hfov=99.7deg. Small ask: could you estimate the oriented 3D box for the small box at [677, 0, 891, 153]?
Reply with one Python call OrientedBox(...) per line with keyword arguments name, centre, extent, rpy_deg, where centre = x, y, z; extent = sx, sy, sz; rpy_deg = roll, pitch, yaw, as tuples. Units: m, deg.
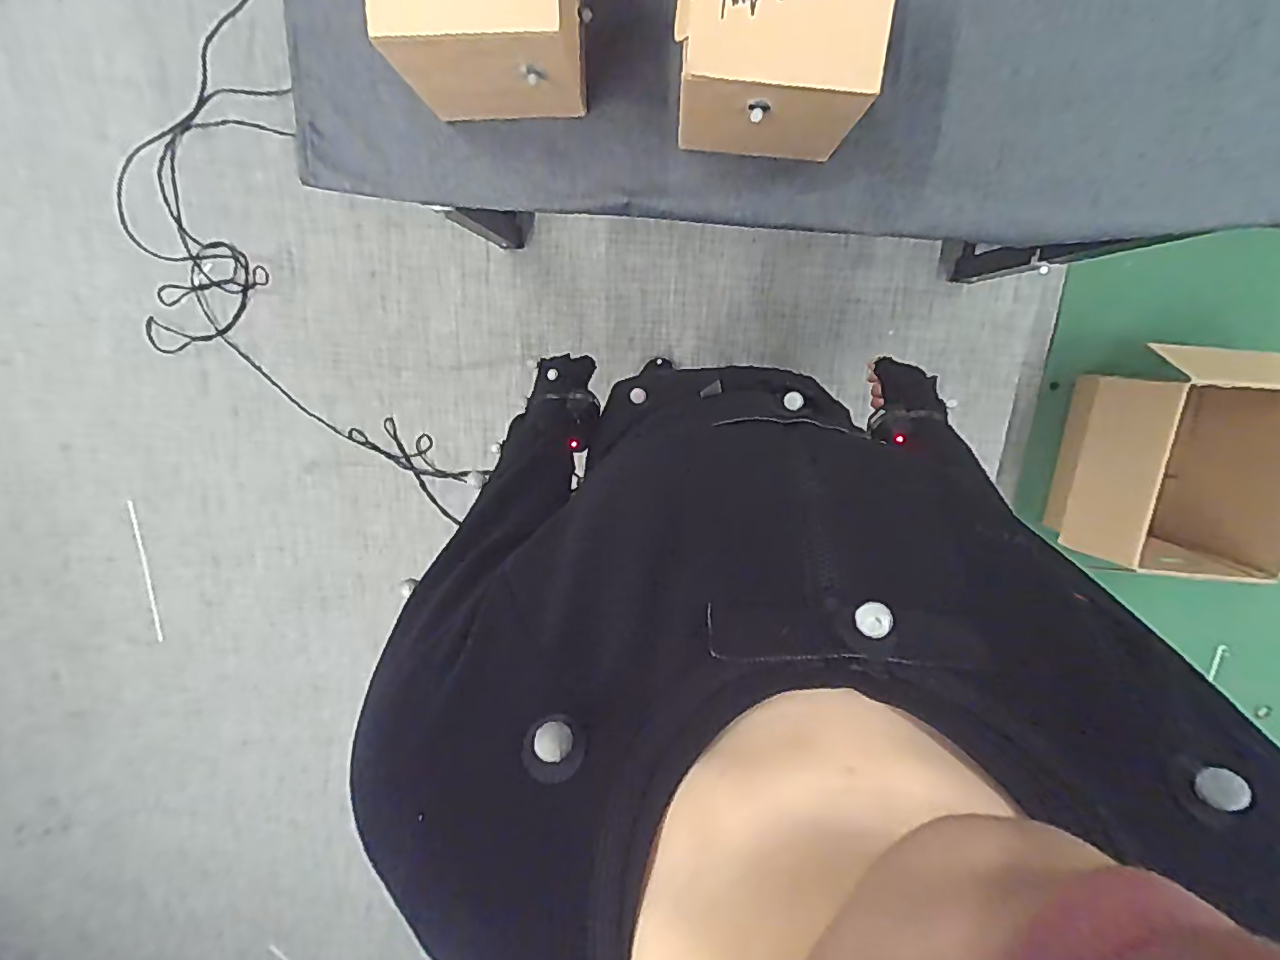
OrientedBox(name="small box", centre=(0.131, -0.443, 0.530), extent=(0.179, 0.176, 0.168), rpy_deg=(6, 104, 2))
